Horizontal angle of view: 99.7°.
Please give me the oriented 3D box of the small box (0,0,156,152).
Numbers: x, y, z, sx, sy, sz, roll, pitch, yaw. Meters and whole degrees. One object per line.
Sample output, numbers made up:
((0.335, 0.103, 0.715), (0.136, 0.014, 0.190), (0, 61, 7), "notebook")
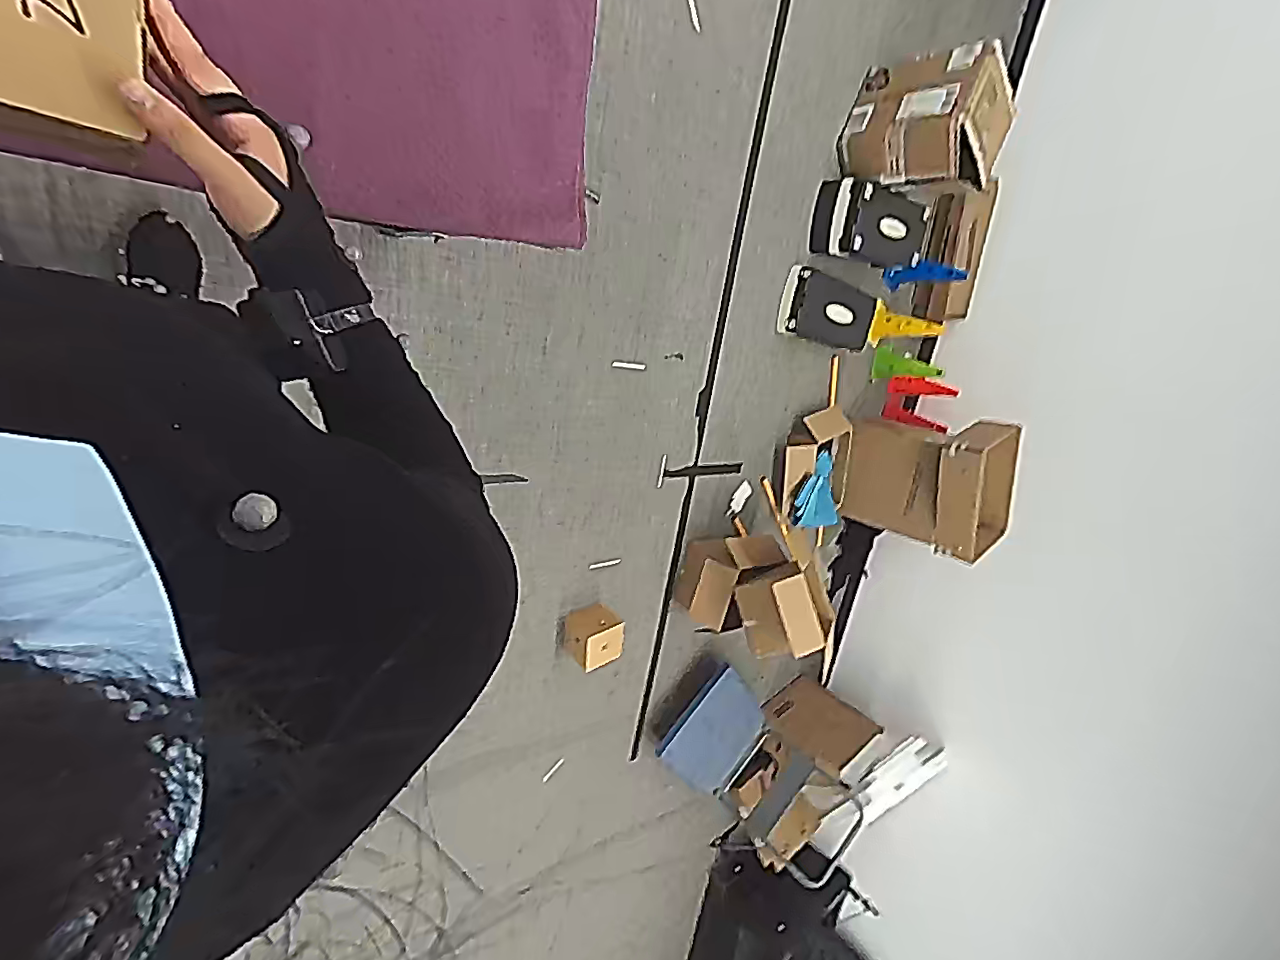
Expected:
((-0.382, -0.296, 0.288), (0.179, 0.176, 0.168), (-4, 112, -45), "small box")

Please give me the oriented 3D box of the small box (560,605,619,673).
((-0.206, 0.629, 2.158), (0.179, 0.176, 0.168), (-13, 118, -39), "small box")
